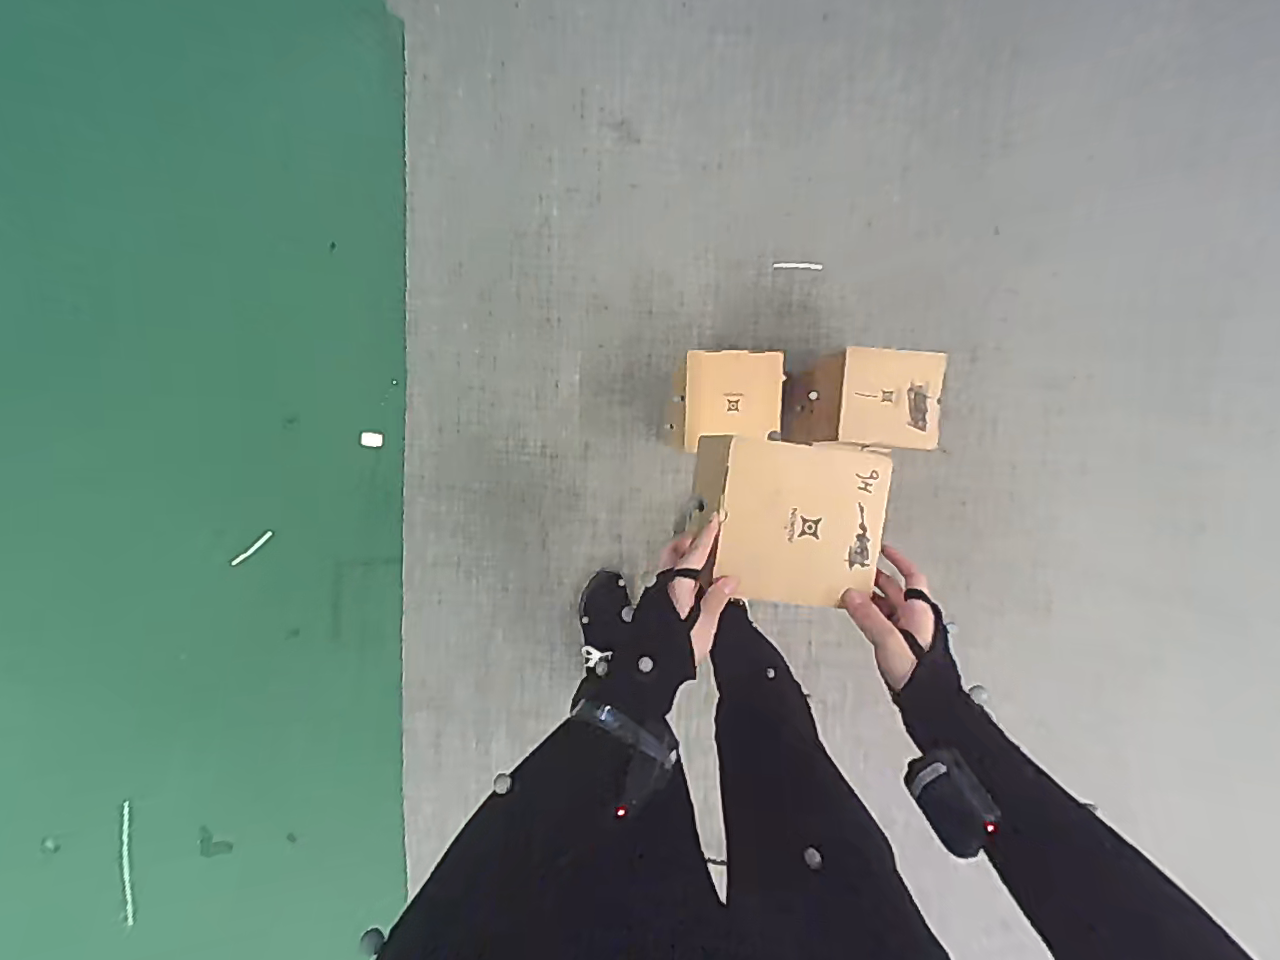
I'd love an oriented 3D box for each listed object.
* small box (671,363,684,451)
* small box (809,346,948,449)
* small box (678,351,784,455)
[{"bbox_3d":[0.157,-0.150,1.163,0.168,0.176,0.179,3,94,-1],"label":"small box"},{"bbox_3d":[0.432,-0.147,1.004,0.179,0.176,0.168,4,93,0],"label":"small box"},{"bbox_3d":[0.161,-0.138,1.003,0.168,0.176,0.179,0,94,-1],"label":"small box"}]
